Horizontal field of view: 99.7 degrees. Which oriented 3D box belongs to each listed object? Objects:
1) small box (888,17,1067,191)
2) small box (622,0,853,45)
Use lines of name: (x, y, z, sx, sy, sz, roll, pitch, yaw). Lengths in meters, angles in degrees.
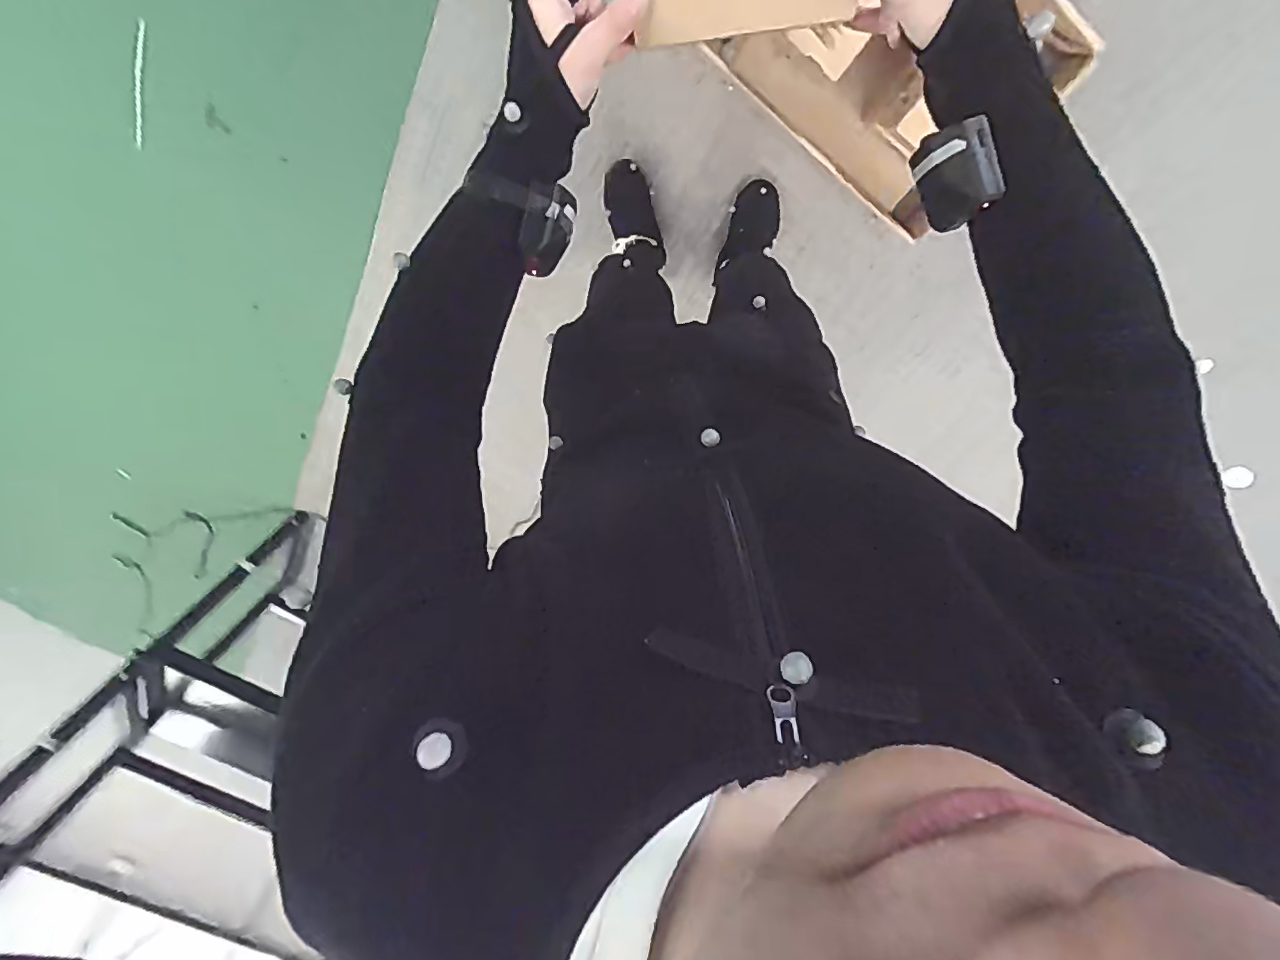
small box: (0.553, -0.627, 0.915, 0.179, 0.176, 0.168, 33, 126, -11)
small box: (0.071, -0.463, 0.433, 0.179, 0.176, 0.168, -4, 129, 6)
